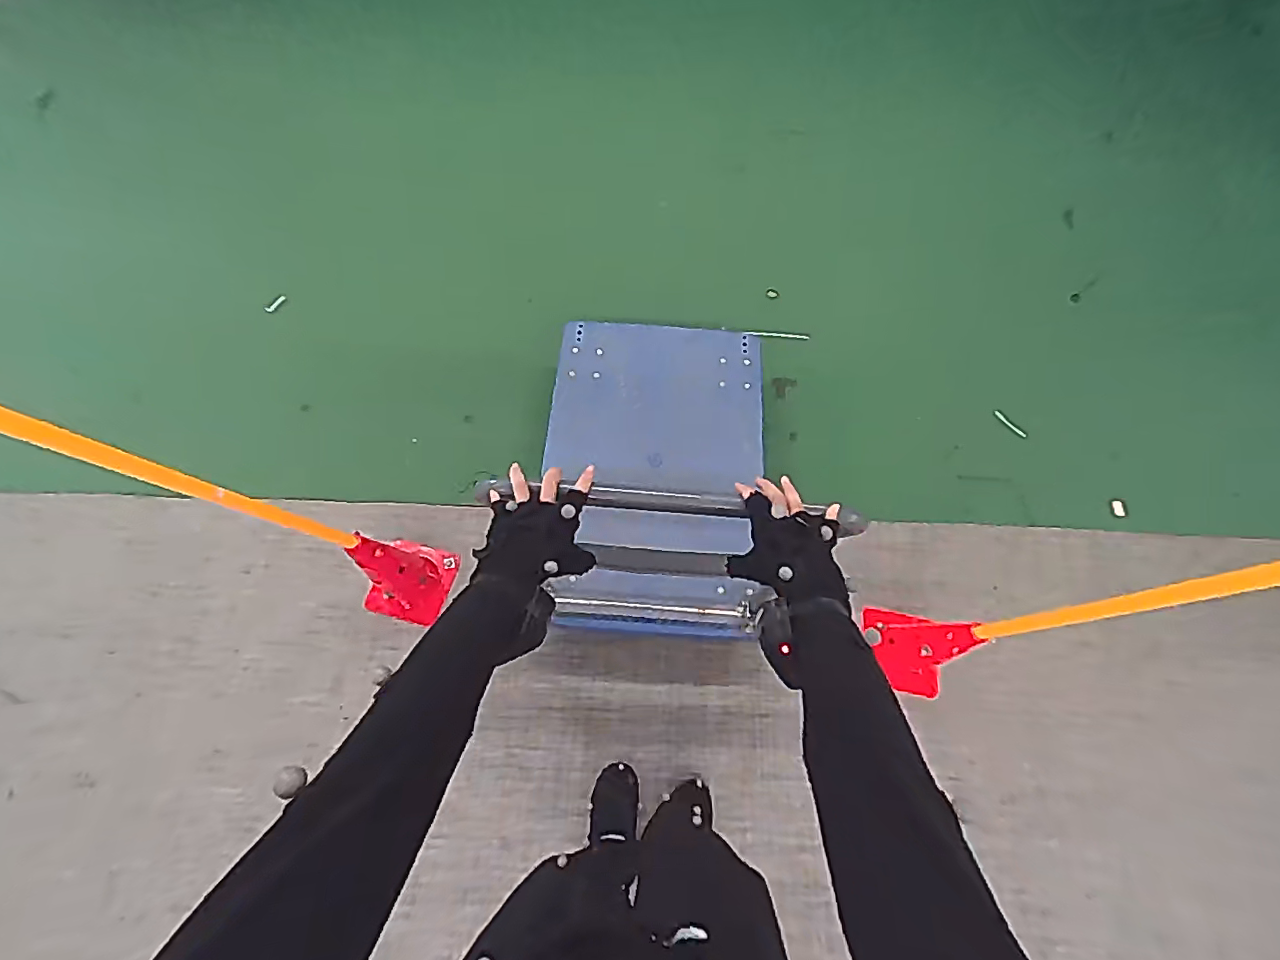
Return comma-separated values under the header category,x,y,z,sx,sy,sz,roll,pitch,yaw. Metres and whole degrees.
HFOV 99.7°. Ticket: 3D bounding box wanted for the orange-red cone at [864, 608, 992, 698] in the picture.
category,x,y,z,sx,sy,sz,roll,pitch,yaw
orange-red cone,0.685,0.377,1.243,0.198,0.360,0.199,12,67,4
